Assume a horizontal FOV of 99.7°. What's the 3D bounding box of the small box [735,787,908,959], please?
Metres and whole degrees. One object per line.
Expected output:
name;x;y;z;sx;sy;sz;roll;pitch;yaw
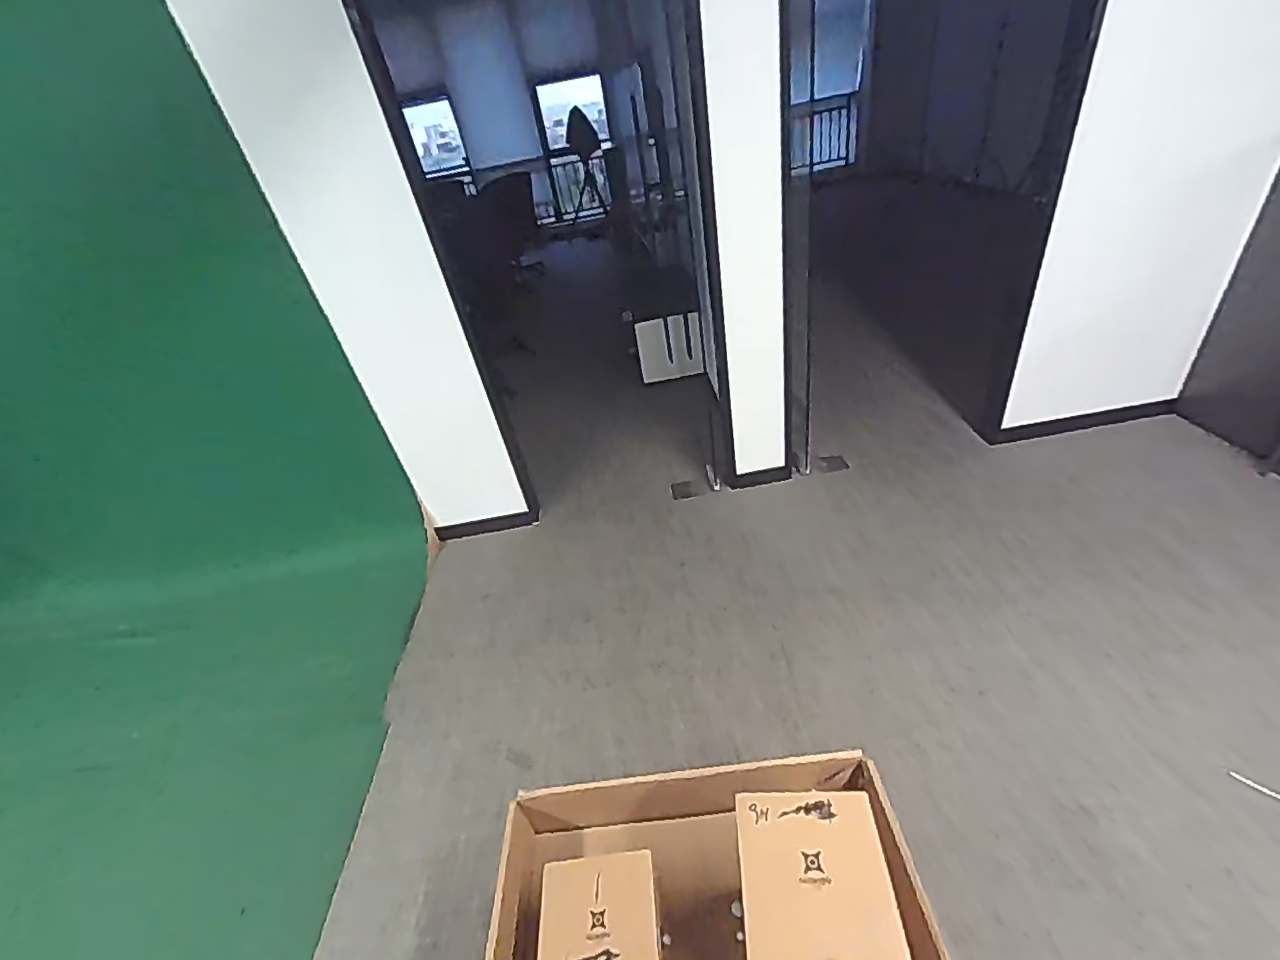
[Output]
small box;0.212;0.507;0.666;0.168;0.176;0.179;-6;37;9
